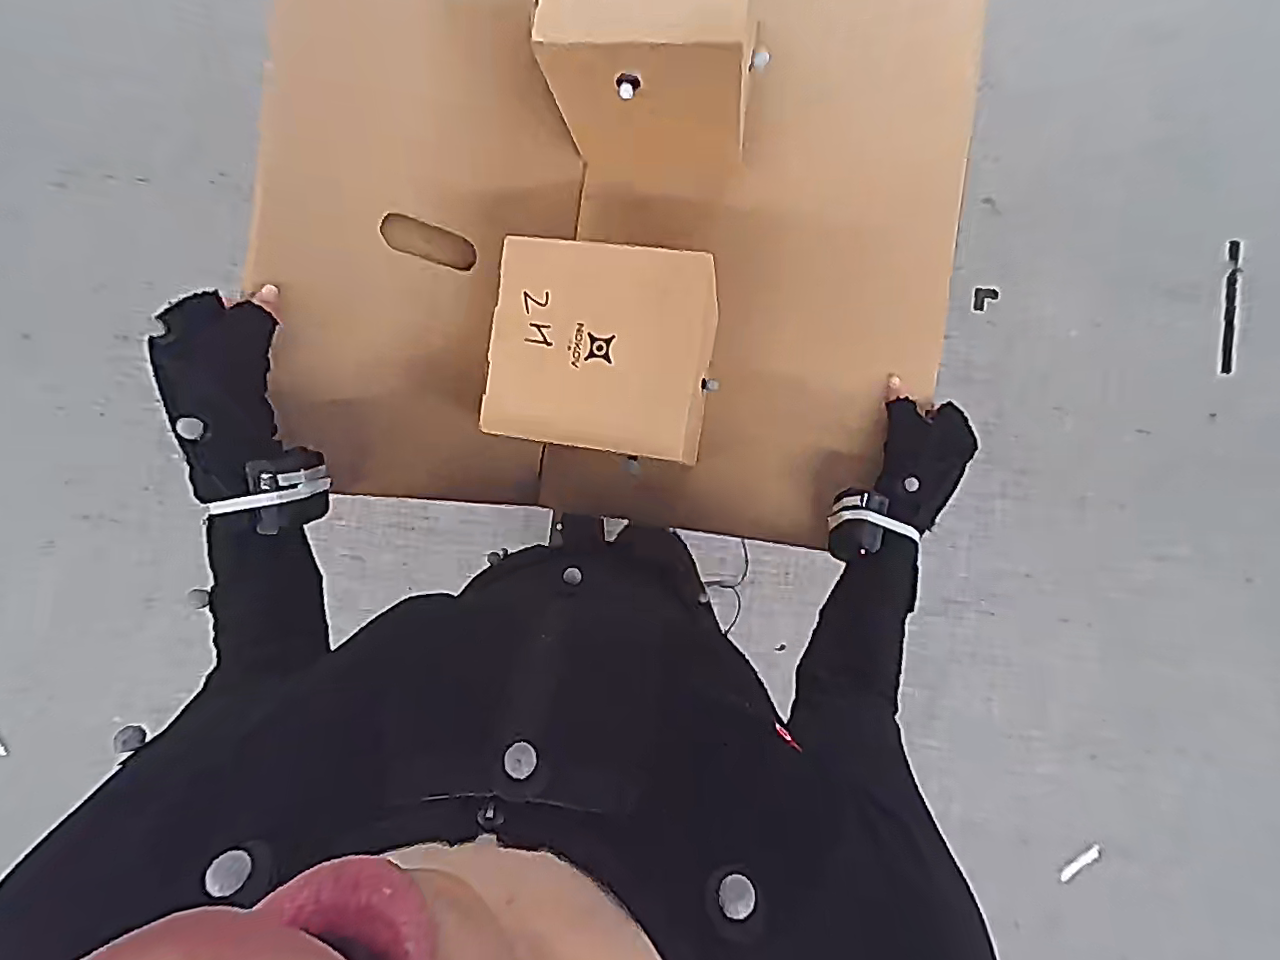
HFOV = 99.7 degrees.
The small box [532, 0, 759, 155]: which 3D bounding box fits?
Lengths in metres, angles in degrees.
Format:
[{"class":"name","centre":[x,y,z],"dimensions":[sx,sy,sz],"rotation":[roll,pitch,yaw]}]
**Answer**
[{"class":"small box","centre":[0.017,-0.439,0.514],"dimensions":[0.179,0.176,0.168],"rotation":[8,92,9]}]

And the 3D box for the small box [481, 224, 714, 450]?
[{"class":"small box","centre":[-0.026,-0.122,0.525],"dimensions":[0.179,0.176,0.168],"rotation":[10,92,10]}]
